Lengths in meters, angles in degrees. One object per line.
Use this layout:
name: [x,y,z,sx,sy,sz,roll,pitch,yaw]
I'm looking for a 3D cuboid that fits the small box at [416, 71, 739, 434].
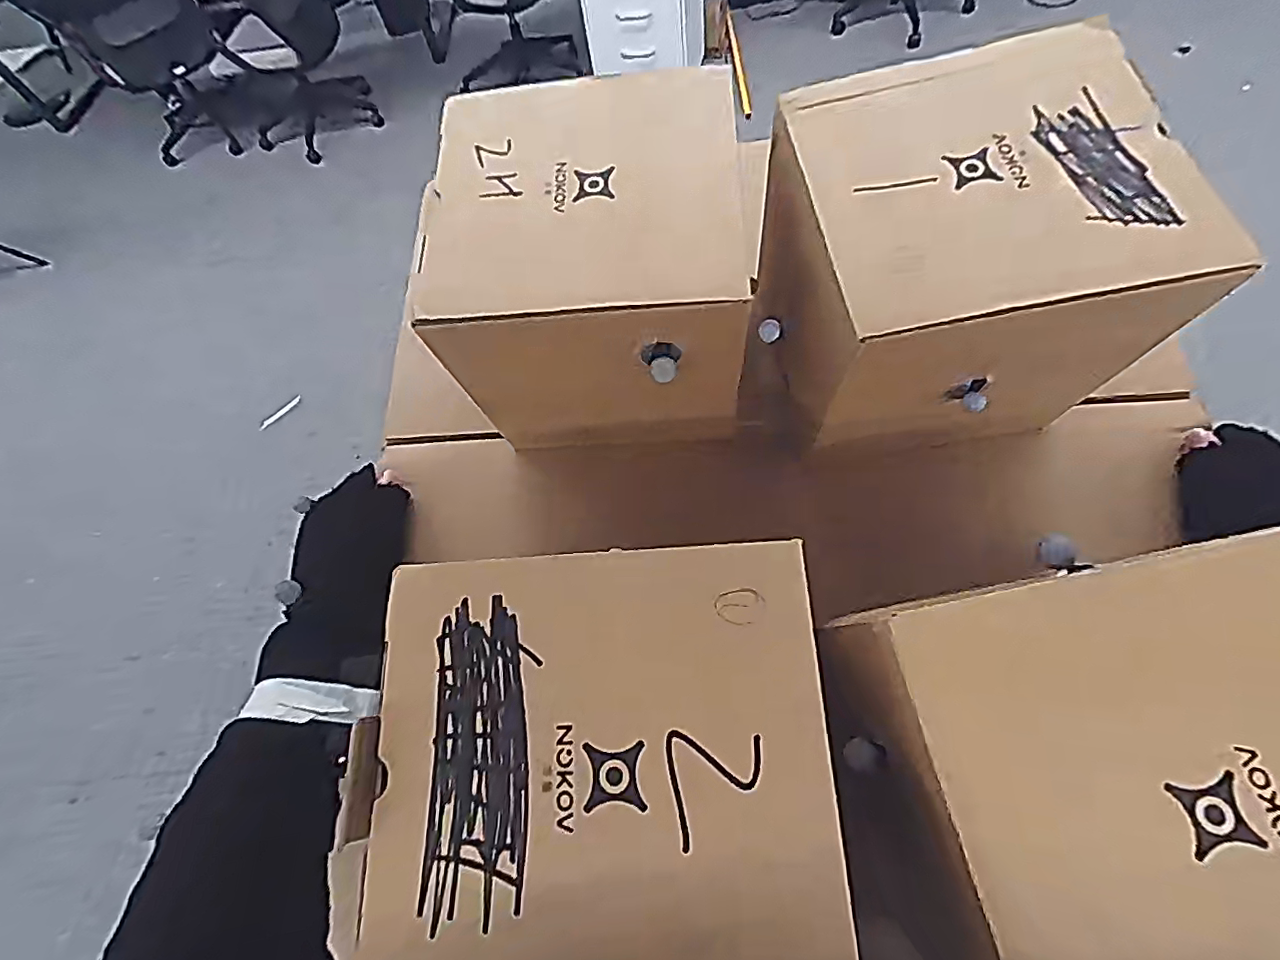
small box: [-0.026,-0.140,0.384,0.179,0.176,0.168,-2,70,7]
